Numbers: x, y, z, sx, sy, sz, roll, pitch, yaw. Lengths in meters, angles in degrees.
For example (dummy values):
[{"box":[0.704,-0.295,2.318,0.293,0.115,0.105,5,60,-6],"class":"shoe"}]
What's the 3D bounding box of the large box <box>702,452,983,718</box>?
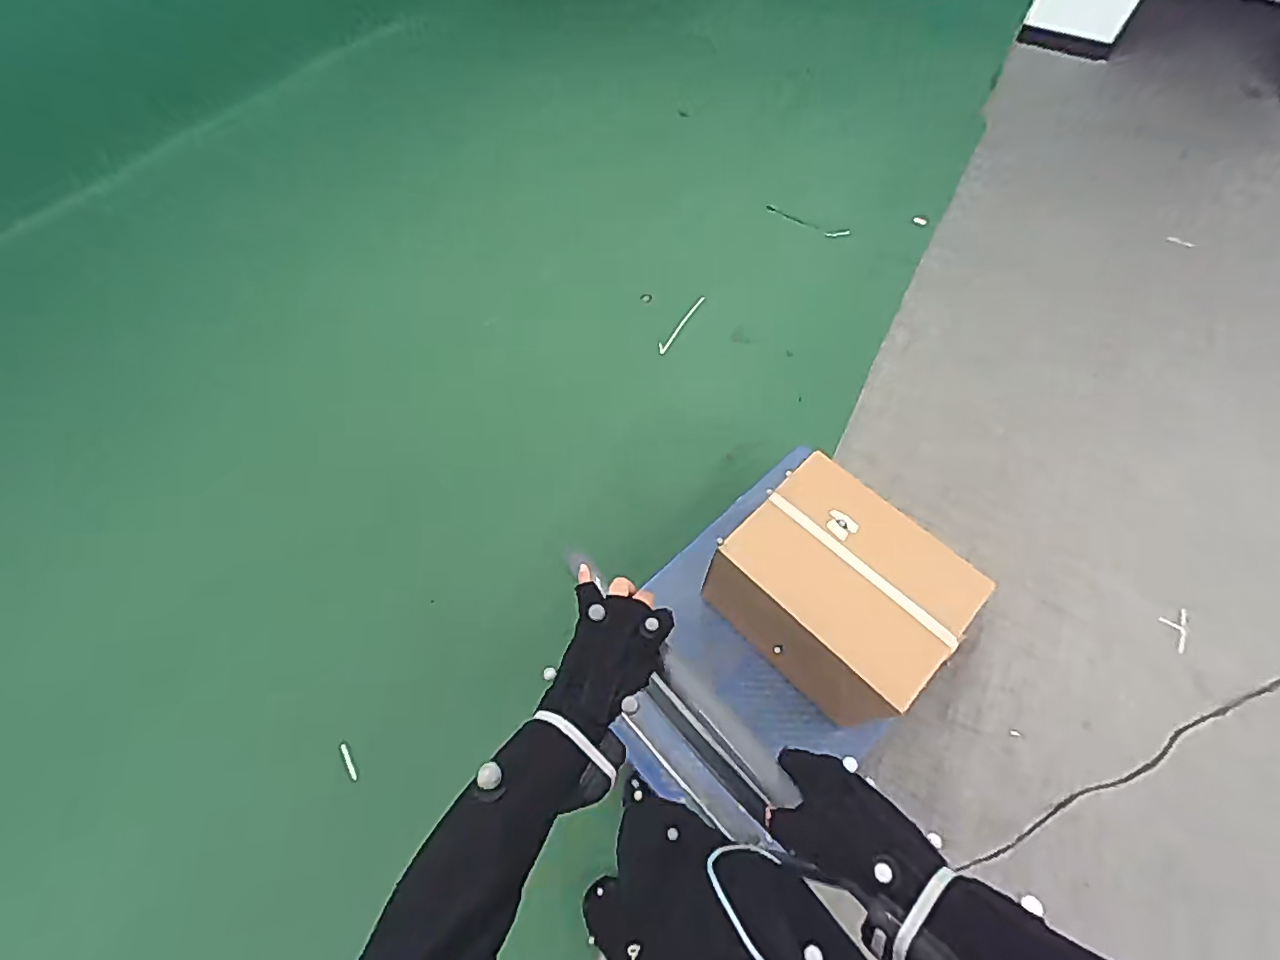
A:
[{"box":[0.387,0.227,1.136,0.320,0.320,0.408,-40,68,-20],"class":"large box"}]
